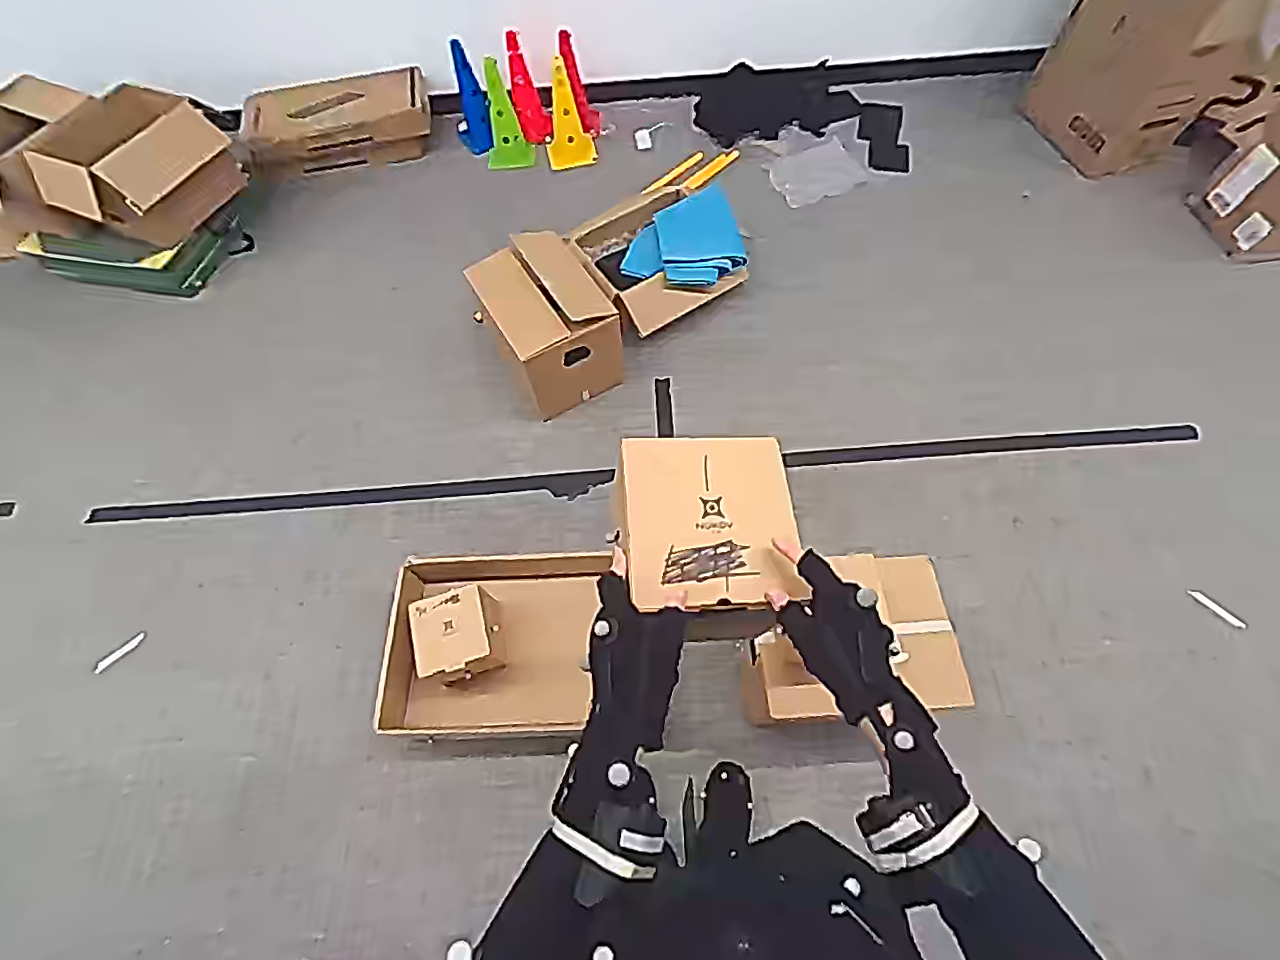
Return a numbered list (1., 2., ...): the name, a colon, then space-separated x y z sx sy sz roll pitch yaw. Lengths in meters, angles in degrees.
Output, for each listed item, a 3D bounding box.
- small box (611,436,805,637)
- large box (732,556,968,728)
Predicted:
1. small box: 0.057 0.069 0.586 0.168 0.176 0.179 0 63 -8
2. large box: 0.441 0.388 1.260 0.408 0.320 0.320 -4 64 -1
